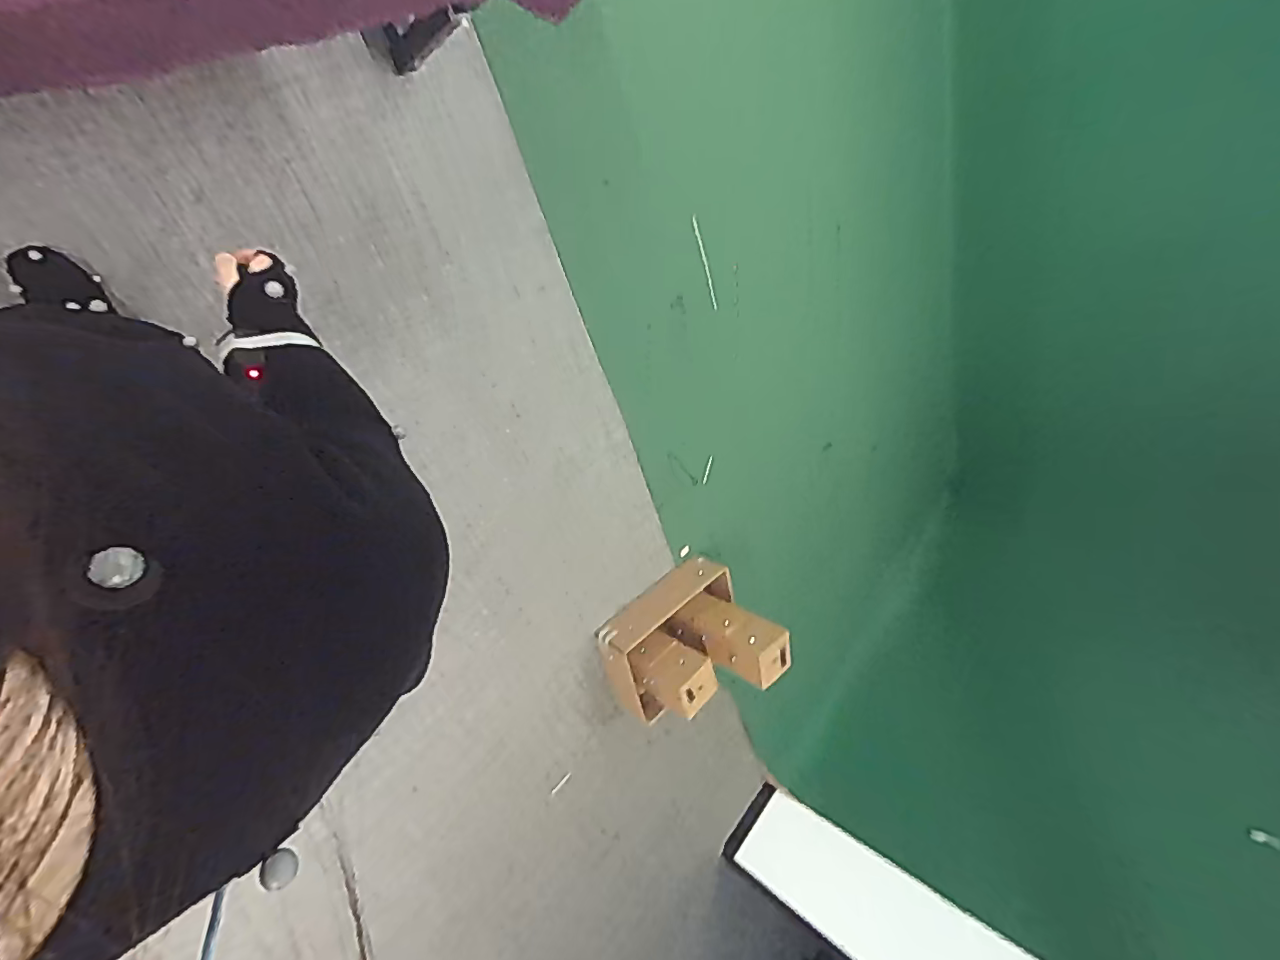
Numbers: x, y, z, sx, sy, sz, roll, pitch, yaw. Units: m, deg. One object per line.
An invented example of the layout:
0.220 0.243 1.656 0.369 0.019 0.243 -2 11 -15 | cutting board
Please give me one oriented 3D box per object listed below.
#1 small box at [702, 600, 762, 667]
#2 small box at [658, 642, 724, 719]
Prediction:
0.369 0.608 2.167 0.179 0.176 0.168 -18 112 -35 | small box
0.185 0.746 2.028 0.179 0.176 0.168 -33 120 -33 | small box
